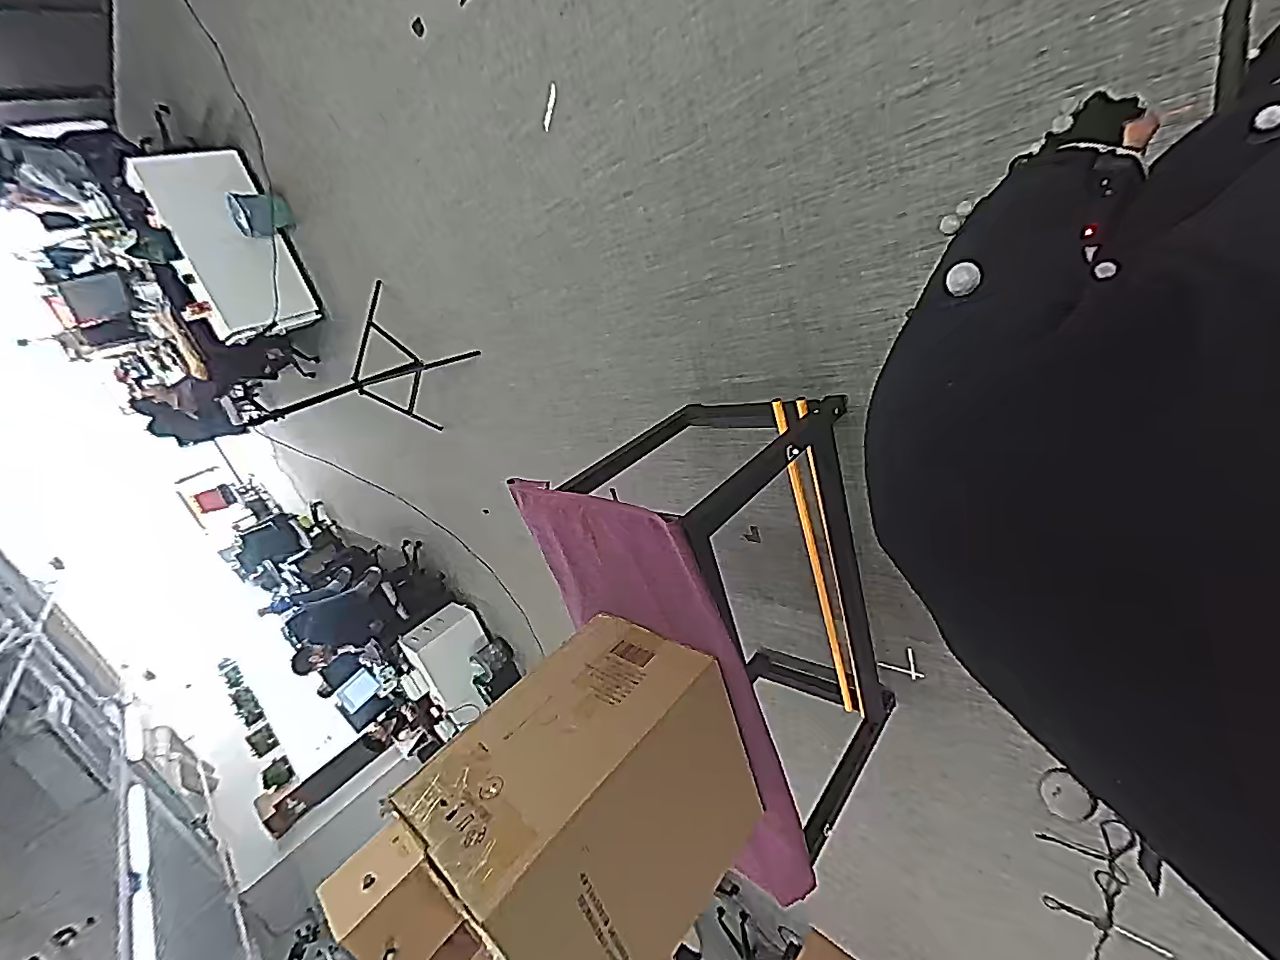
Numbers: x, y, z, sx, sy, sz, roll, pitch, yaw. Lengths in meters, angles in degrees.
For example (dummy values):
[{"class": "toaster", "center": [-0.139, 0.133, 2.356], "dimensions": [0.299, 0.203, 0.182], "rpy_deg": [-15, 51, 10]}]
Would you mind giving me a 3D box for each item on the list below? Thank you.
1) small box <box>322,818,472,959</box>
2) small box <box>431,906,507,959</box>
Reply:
[{"class": "small box", "center": [-0.456, 0.793, 1.024], "dimensions": [0.168, 0.176, 0.179], "rpy_deg": [-1, 119, 48]}, {"class": "small box", "center": [-0.374, 1.009, 1.102], "dimensions": [0.168, 0.176, 0.179], "rpy_deg": [3, 118, 45]}]
